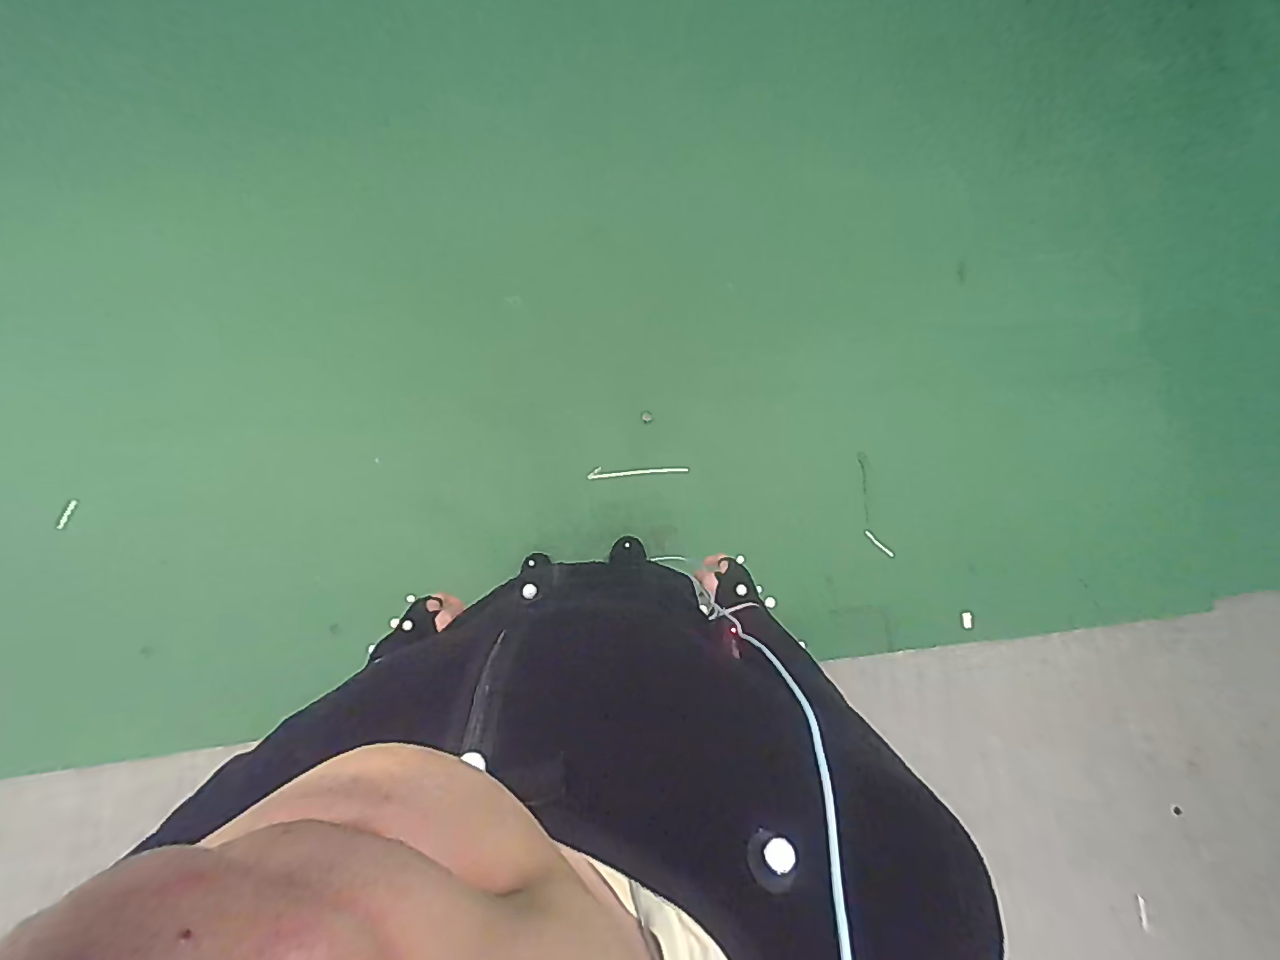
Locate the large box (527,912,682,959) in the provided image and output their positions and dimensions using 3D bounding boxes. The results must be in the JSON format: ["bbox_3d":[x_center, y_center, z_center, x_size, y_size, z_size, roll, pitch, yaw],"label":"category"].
[{"bbox_3d":[-0.075,1.384,1.359,0.408,0.320,0.320,-7,83,-8],"label":"large box"}]
